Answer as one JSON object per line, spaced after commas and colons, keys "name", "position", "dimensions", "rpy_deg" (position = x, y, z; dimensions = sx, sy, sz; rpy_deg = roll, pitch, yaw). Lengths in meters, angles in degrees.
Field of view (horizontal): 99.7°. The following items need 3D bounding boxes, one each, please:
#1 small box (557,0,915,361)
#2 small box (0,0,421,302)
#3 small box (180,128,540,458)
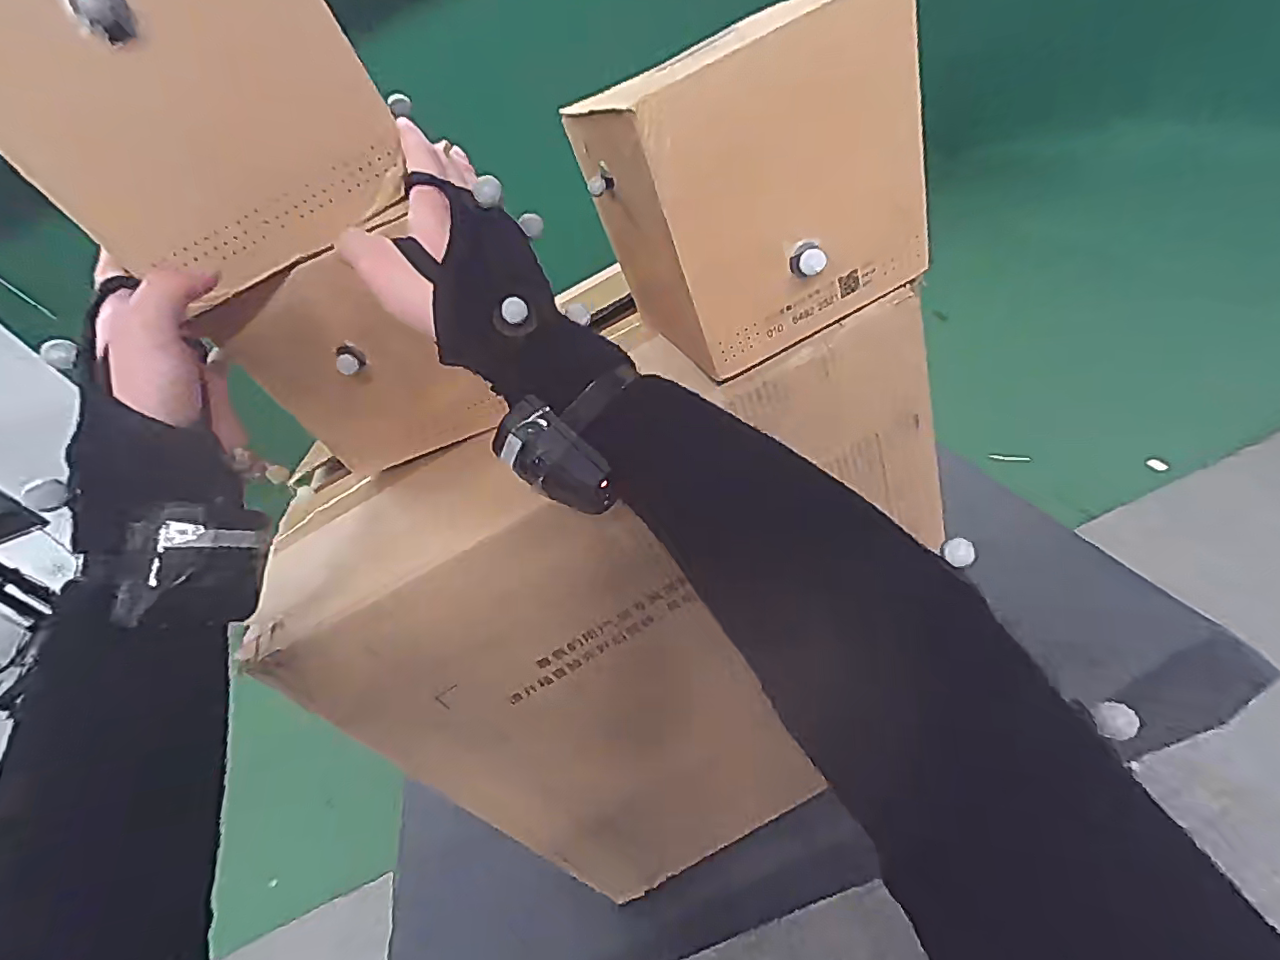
{"name": "small box", "position": [0.063, -0.209, 0.379], "dimensions": [0.168, 0.176, 0.179], "rpy_deg": [-28, 38, -1]}
{"name": "small box", "position": [-0.268, -0.240, 0.333], "dimensions": [0.179, 0.176, 0.168], "rpy_deg": [-32, 46, -6]}
{"name": "small box", "position": [-0.201, -0.144, 0.446], "dimensions": [0.179, 0.176, 0.168], "rpy_deg": [-19, 46, 10]}
